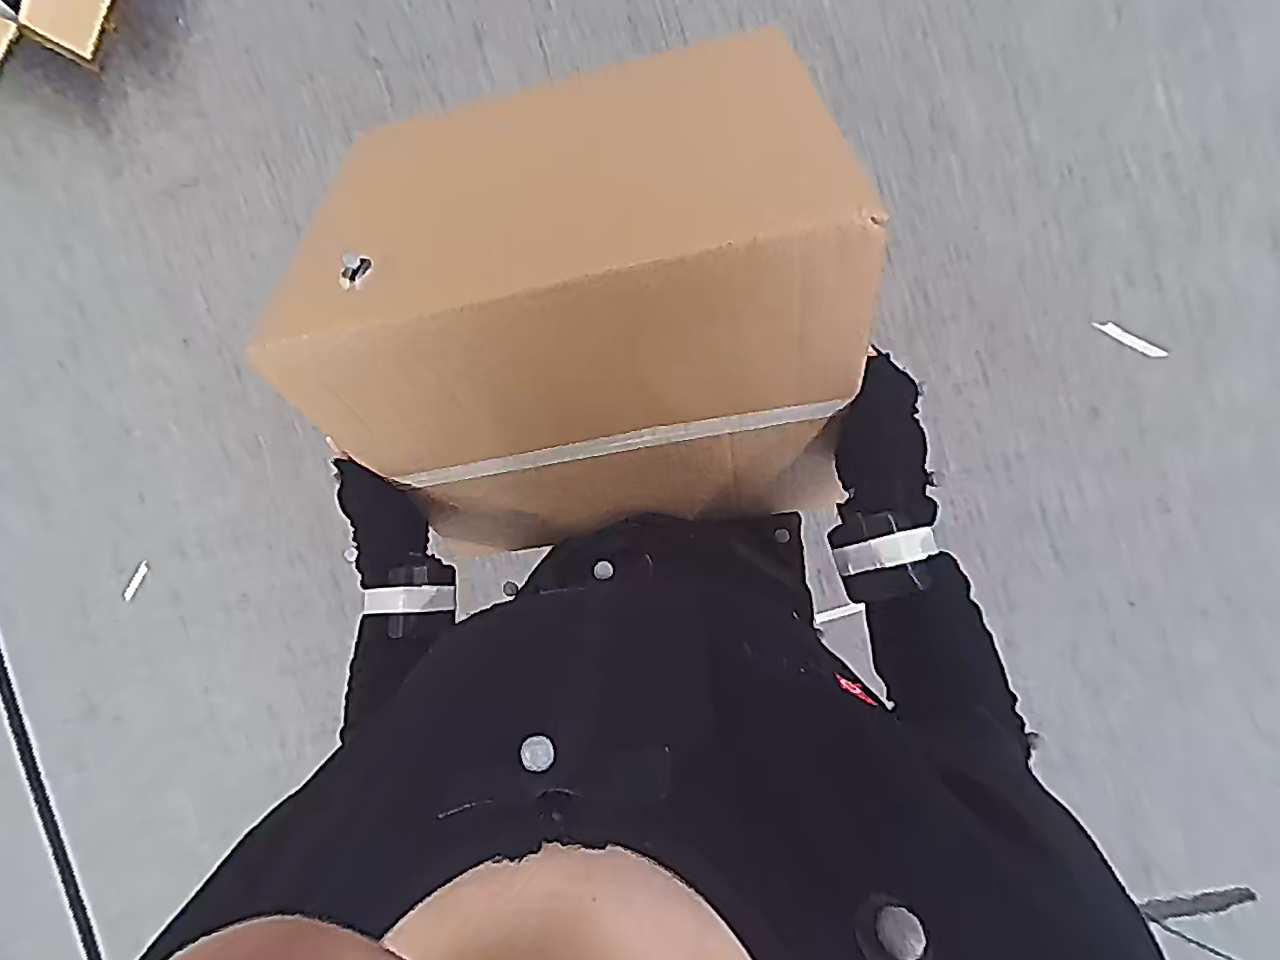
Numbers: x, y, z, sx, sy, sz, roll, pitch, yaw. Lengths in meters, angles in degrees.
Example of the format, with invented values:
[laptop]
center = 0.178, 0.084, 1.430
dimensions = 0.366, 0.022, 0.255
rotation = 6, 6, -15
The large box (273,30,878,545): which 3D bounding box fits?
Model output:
[large box]
center = -0.035, -0.164, 0.538
dimensions = 0.408, 0.320, 0.320
rotation = -9, 56, 8
